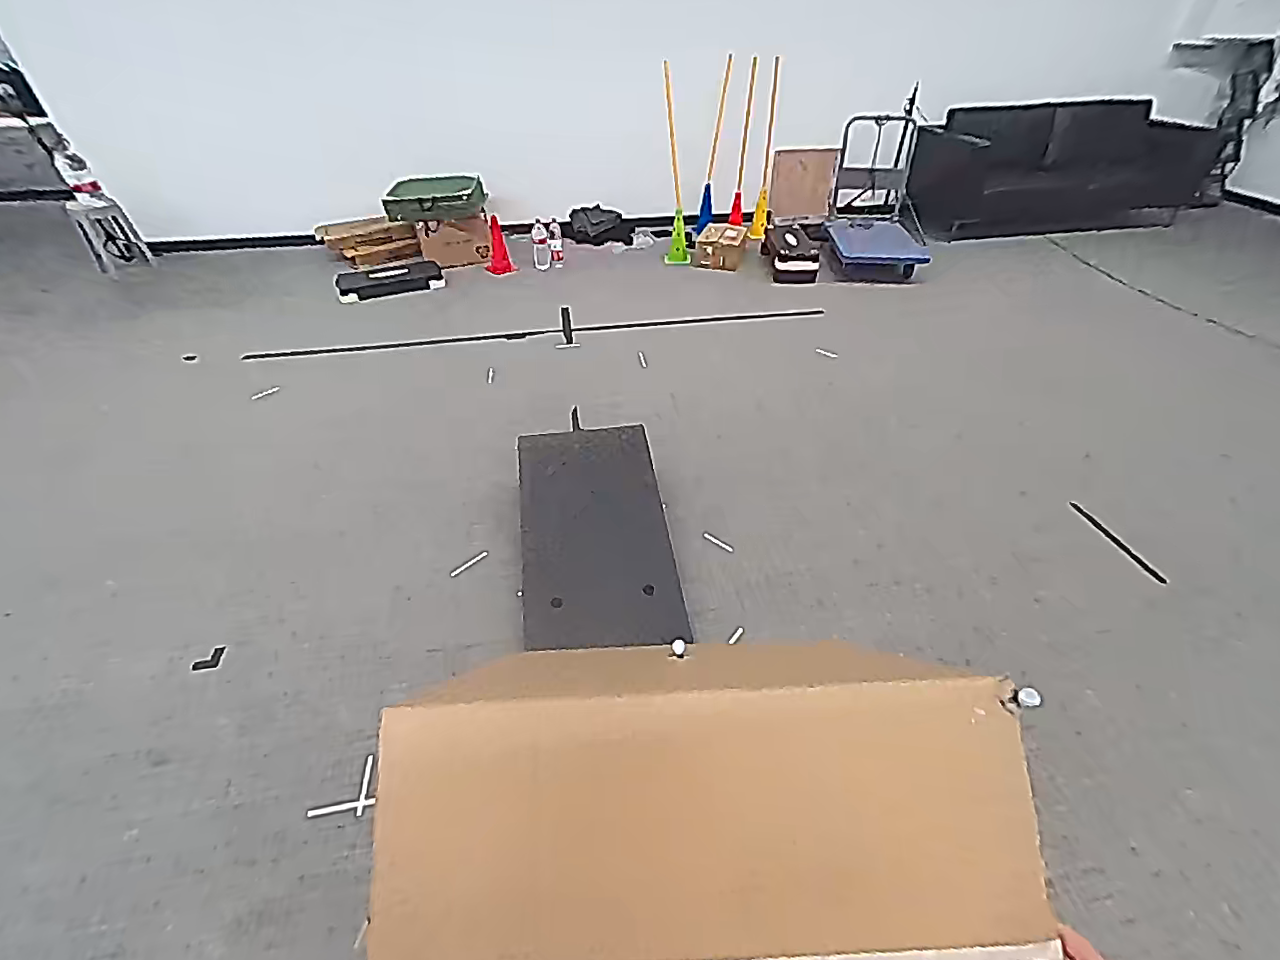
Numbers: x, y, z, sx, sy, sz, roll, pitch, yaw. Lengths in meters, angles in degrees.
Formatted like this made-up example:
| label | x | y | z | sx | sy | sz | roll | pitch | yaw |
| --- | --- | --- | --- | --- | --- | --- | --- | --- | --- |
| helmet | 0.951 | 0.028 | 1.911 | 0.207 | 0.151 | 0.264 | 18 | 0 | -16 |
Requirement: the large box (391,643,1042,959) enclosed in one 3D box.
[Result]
| label | x | y | z | sx | sy | sz | roll | pitch | yaw |
| --- | --- | --- | --- | --- | --- | --- | --- | --- | --- |
| large box | 0.045 | 0.326 | 0.473 | 0.408 | 0.320 | 0.320 | -3 | 80 | -1 |

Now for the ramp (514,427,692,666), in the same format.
| label | x | y | z | sx | sy | sz | roll | pitch | yaw |
| --- | --- | --- | --- | --- | --- | --- | --- | --- | --- |
| ramp | -0.157 | 0.207 | 1.797 | 0.509 | 0.206 | 0.991 | -7 | 42 | -9 |
